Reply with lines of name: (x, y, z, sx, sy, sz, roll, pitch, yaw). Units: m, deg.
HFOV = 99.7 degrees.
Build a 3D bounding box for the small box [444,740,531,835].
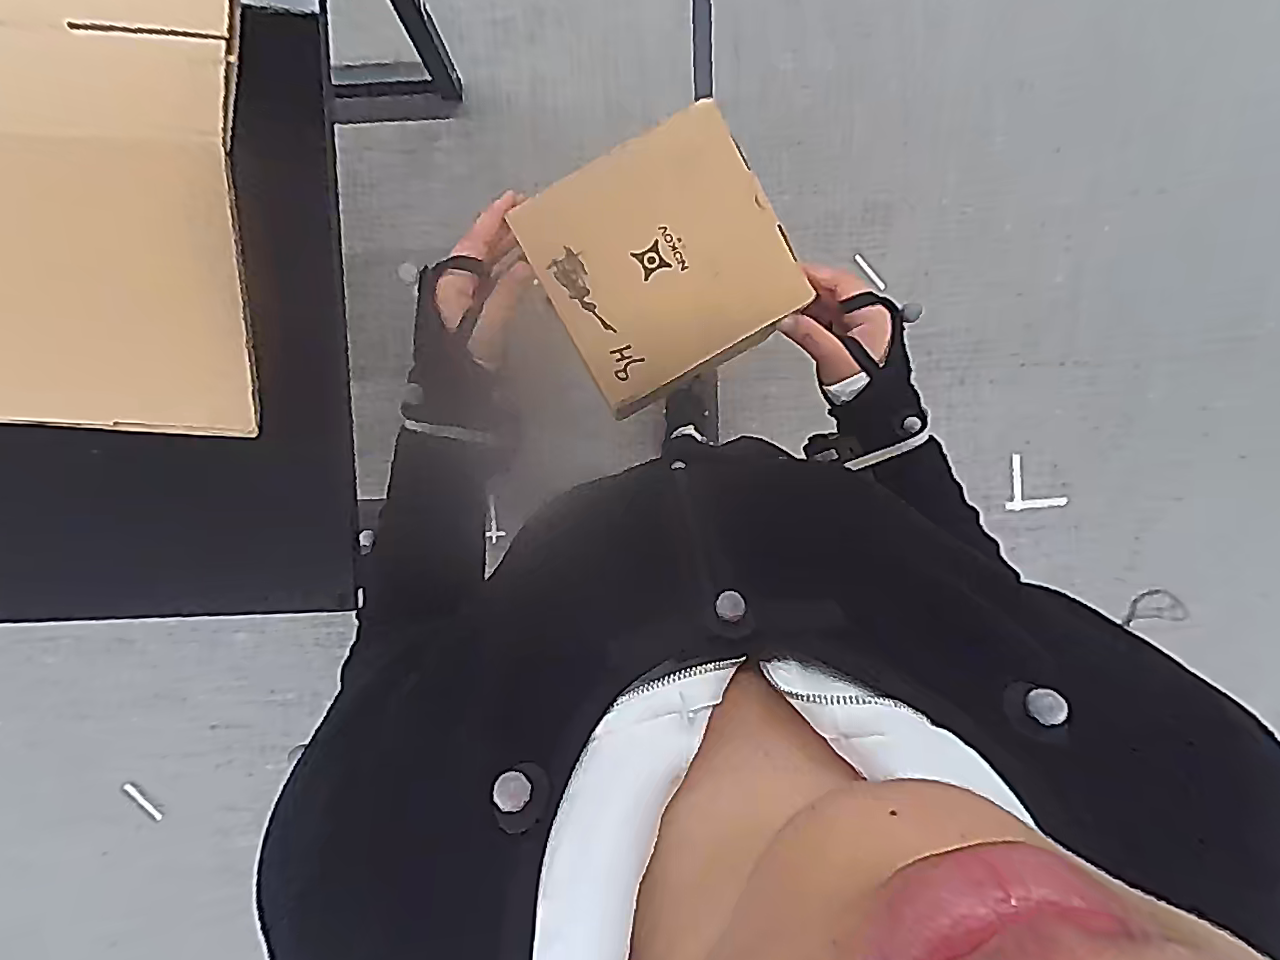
small box: (-0.400, 0.819, 1.440, 0.179, 0.176, 0.168, -6, 93, -1)
